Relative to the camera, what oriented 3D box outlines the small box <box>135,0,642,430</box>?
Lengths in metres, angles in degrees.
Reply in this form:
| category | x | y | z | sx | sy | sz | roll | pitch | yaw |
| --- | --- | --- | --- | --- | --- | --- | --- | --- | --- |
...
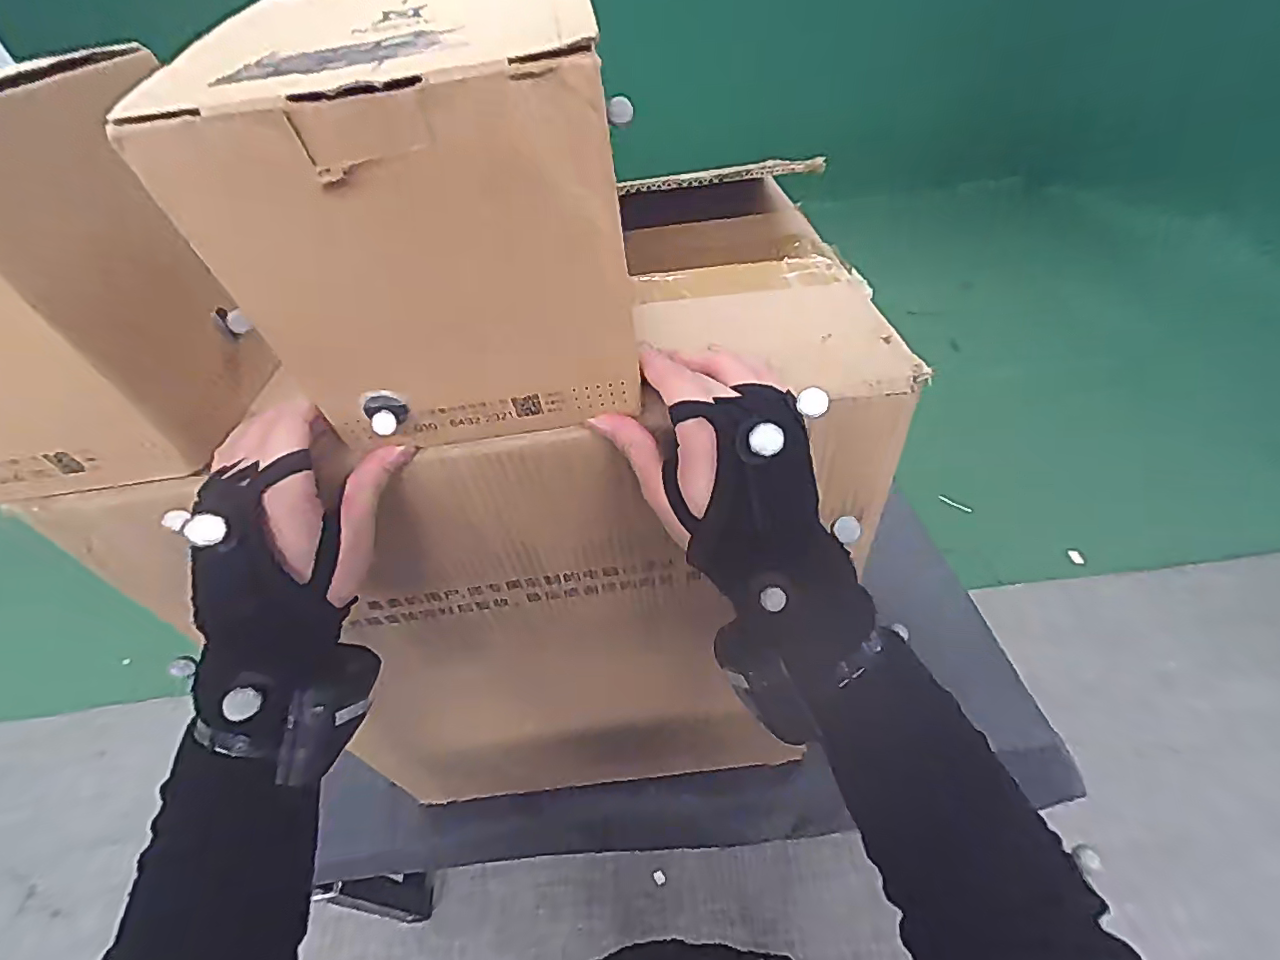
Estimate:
| category | x | y | z | sx | sy | sz | roll | pitch | yaw |
| --- | --- | --- | --- | --- | --- | --- | --- | --- | --- |
| small box | -0.093 | -0.142 | 0.297 | 0.168 | 0.176 | 0.179 | -8 | 50 | 0 |

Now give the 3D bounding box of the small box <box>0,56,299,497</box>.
| category | x | y | z | sx | sy | sz | roll | pitch | yaw |
| --- | --- | --- | --- | --- | --- | --- | --- | --- | --- |
| small box | -0.330 | -0.112 | 0.307 | 0.168 | 0.176 | 0.179 | -8 | 45 | 4 |
